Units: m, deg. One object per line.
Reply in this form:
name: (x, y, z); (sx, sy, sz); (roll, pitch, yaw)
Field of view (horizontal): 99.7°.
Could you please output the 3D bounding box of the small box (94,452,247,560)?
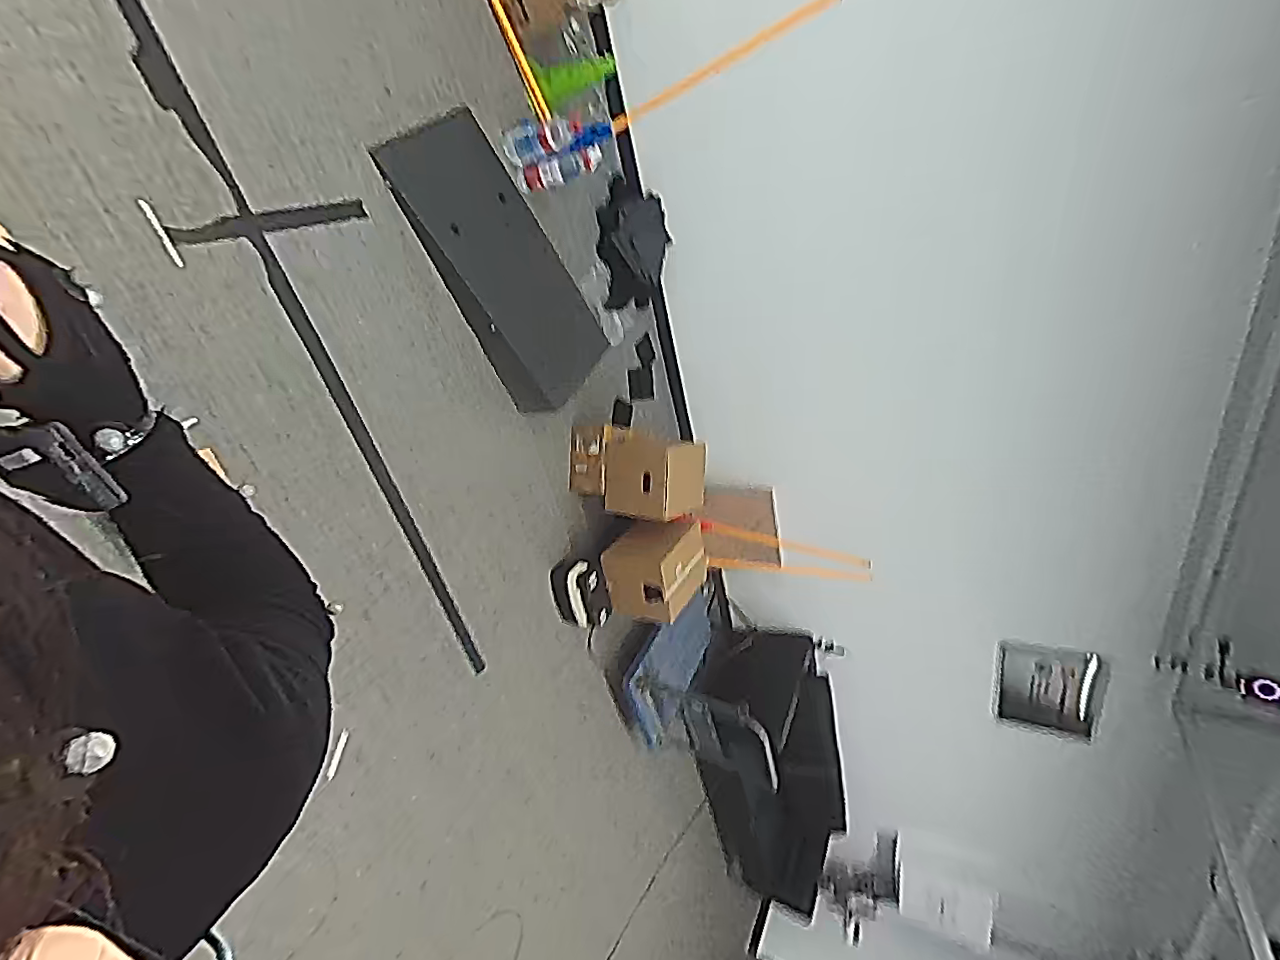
small box: (-1.011, 0.049, 1.169); (0.168, 0.176, 0.179); (-44, 129, -49)
